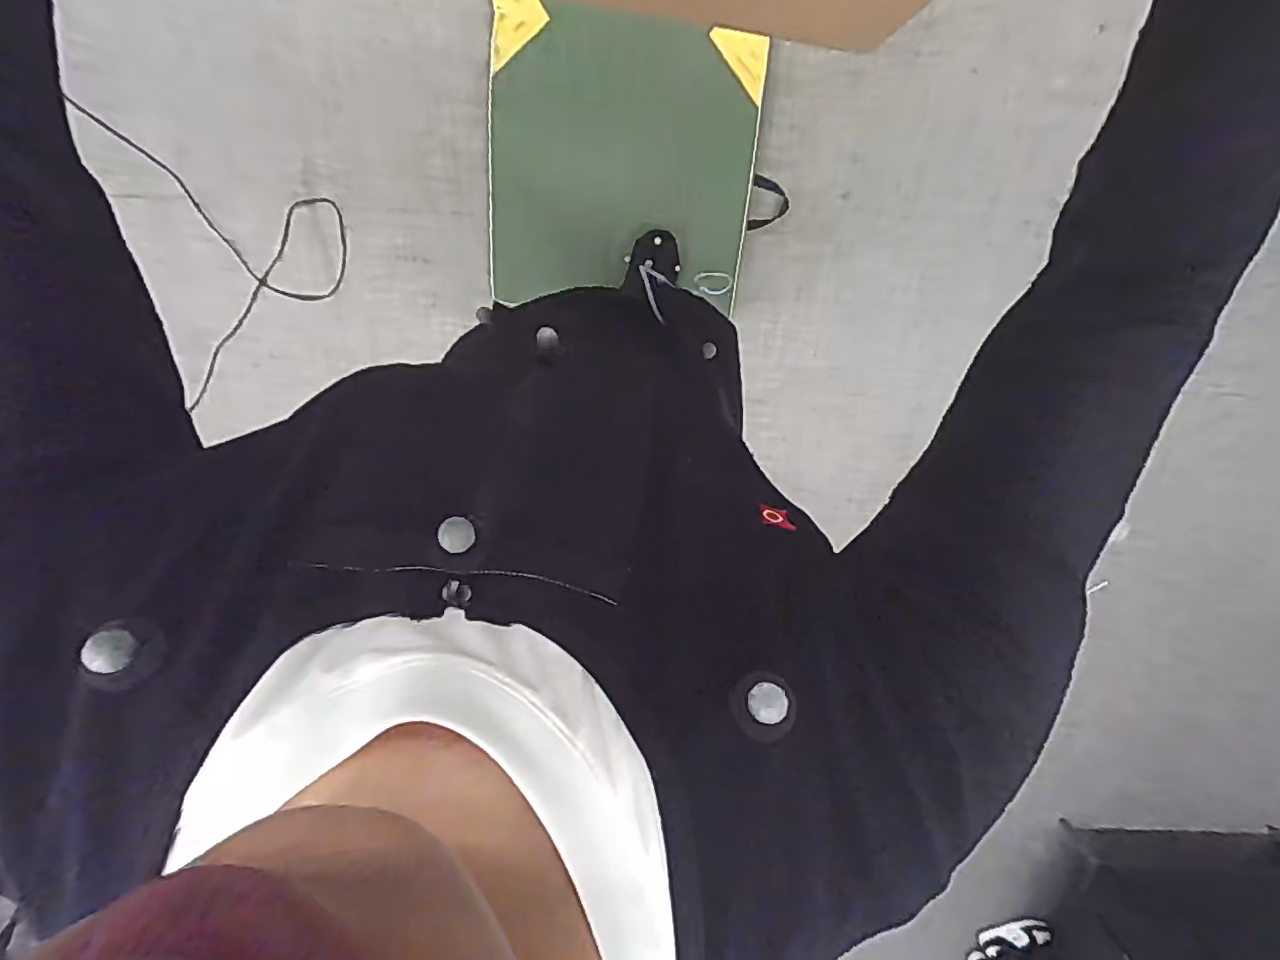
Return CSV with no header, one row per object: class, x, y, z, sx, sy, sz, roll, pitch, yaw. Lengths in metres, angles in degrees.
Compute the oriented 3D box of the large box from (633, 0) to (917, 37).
large box,0.026,-0.474,0.251,0.408,0.320,0.320,7,113,-4
